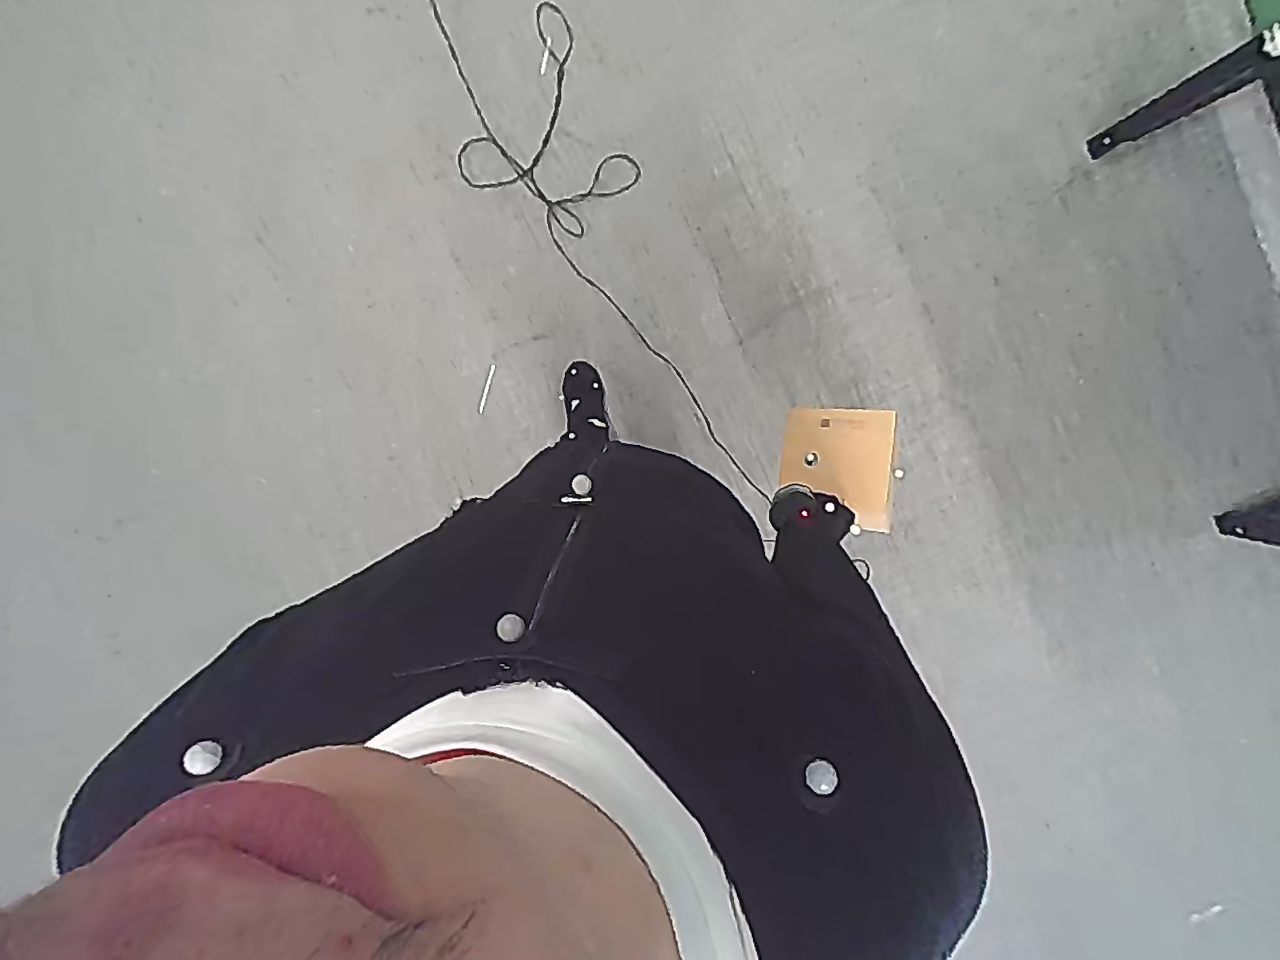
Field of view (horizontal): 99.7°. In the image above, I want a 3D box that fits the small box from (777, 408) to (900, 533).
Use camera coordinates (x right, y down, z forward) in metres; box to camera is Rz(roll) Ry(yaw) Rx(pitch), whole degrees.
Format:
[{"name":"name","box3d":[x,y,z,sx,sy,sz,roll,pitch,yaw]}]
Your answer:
[{"name":"small box","box3d":[0.346,-0.016,0.931,0.168,0.179,0.176,9,80,28]}]
